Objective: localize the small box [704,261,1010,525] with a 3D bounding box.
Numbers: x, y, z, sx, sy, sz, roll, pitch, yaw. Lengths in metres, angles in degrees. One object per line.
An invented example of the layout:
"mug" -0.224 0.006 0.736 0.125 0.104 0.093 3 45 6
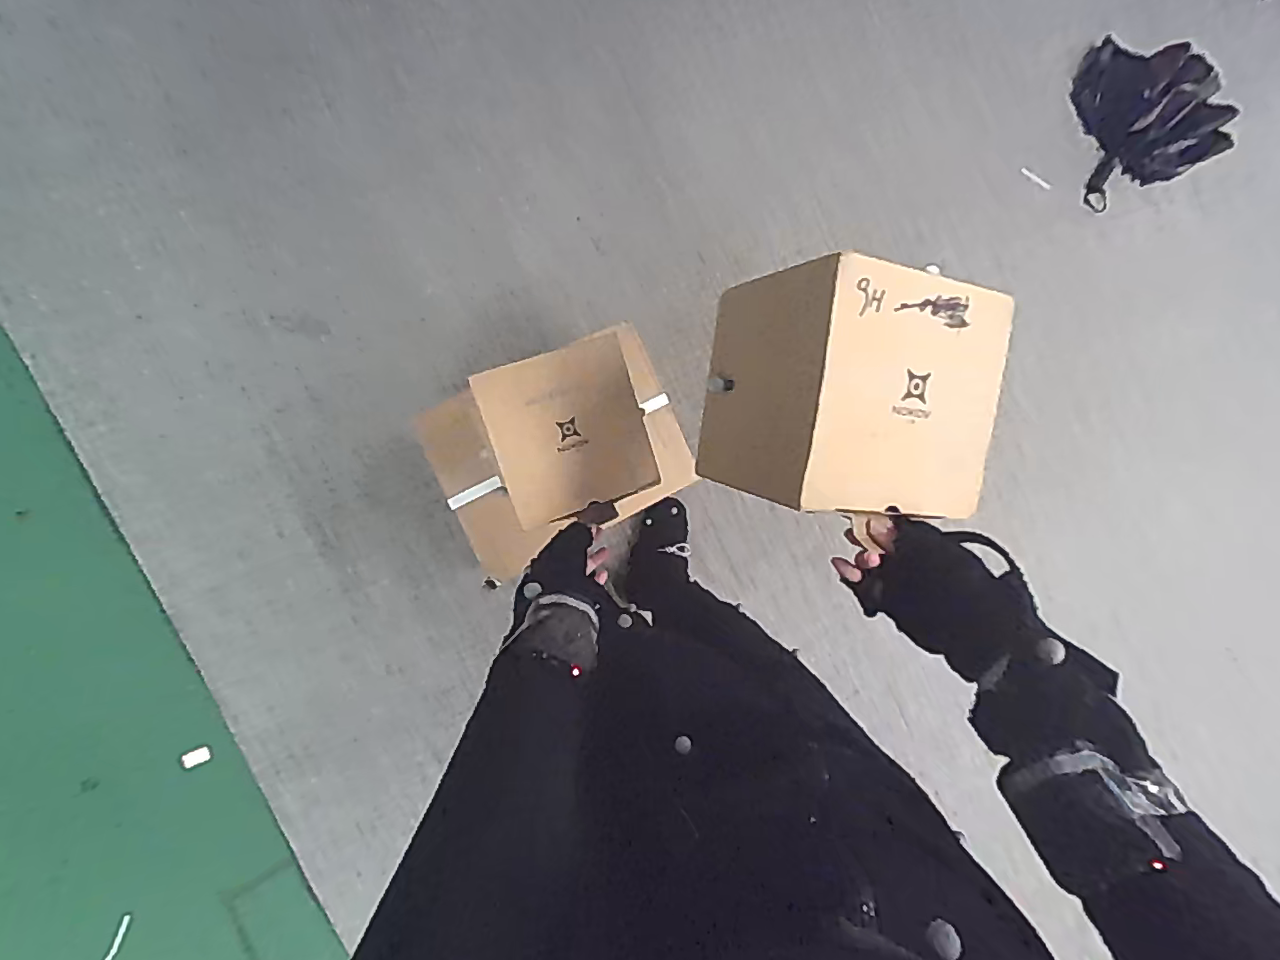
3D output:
"small box" 0.170 -0.069 0.473 0.168 0.176 0.179 5 98 -21

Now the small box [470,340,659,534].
"small box" -0.095 -0.053 0.664 0.168 0.176 0.179 -20 98 -12
